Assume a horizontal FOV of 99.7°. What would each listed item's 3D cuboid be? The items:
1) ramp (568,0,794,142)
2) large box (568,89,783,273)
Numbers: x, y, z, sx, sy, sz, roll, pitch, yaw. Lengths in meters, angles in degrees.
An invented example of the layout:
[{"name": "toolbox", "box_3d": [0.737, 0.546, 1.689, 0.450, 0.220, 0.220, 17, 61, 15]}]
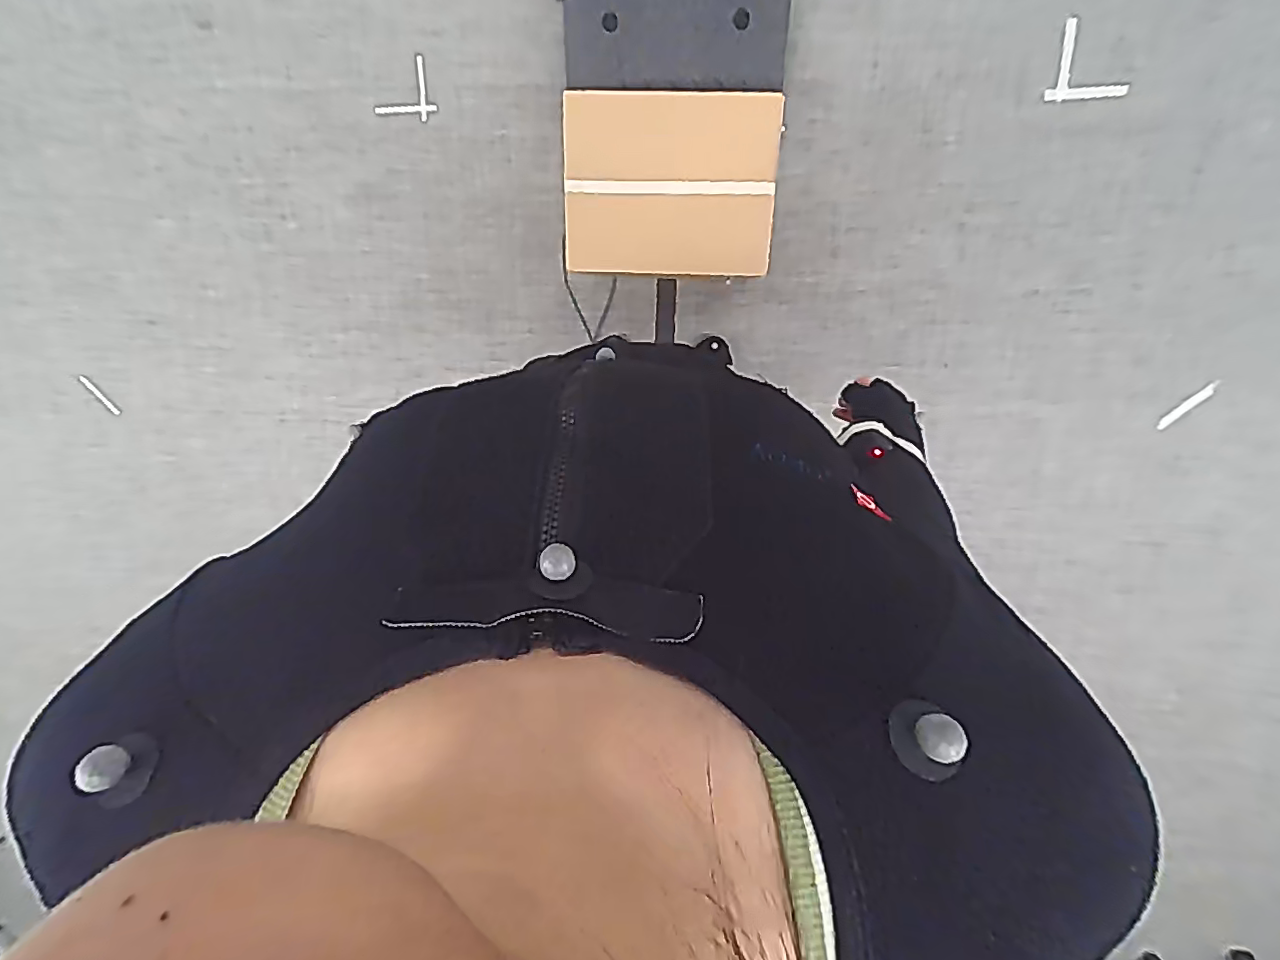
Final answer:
[{"name": "ramp", "box_3d": [0.087, -1.201, 1.085, 0.509, 0.206, 0.991, 0, 106, 3]}, {"name": "large box", "box_3d": [0.074, -0.619, 1.179, 0.408, 0.320, 0.320, 3, 109, 4]}]
